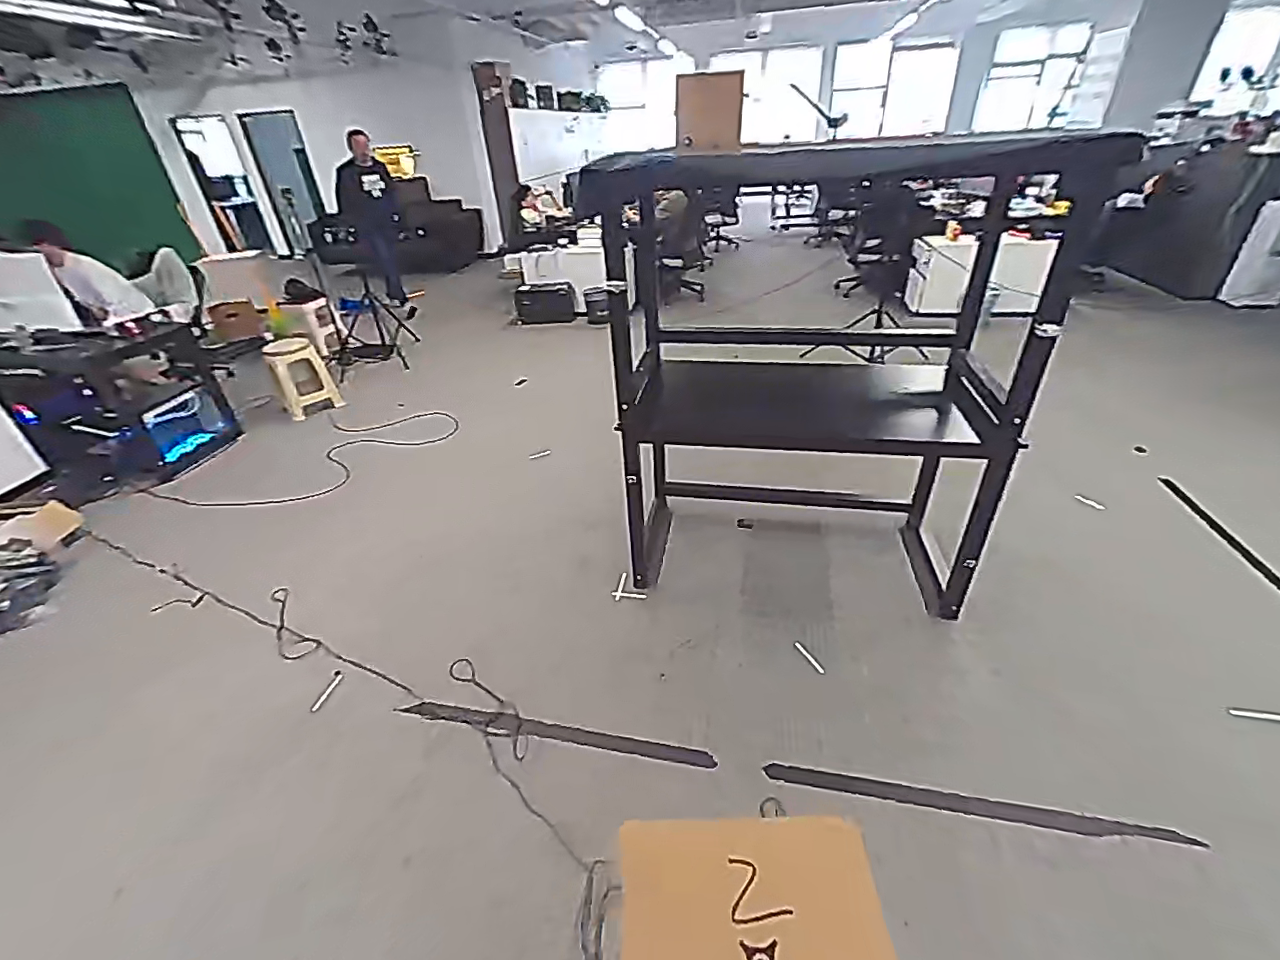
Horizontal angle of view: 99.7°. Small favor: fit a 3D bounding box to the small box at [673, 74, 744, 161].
[{"bbox_3d":[0.174,-0.906,1.362,0.168,0.176,0.179,3,31,8],"label":"small box"}]
